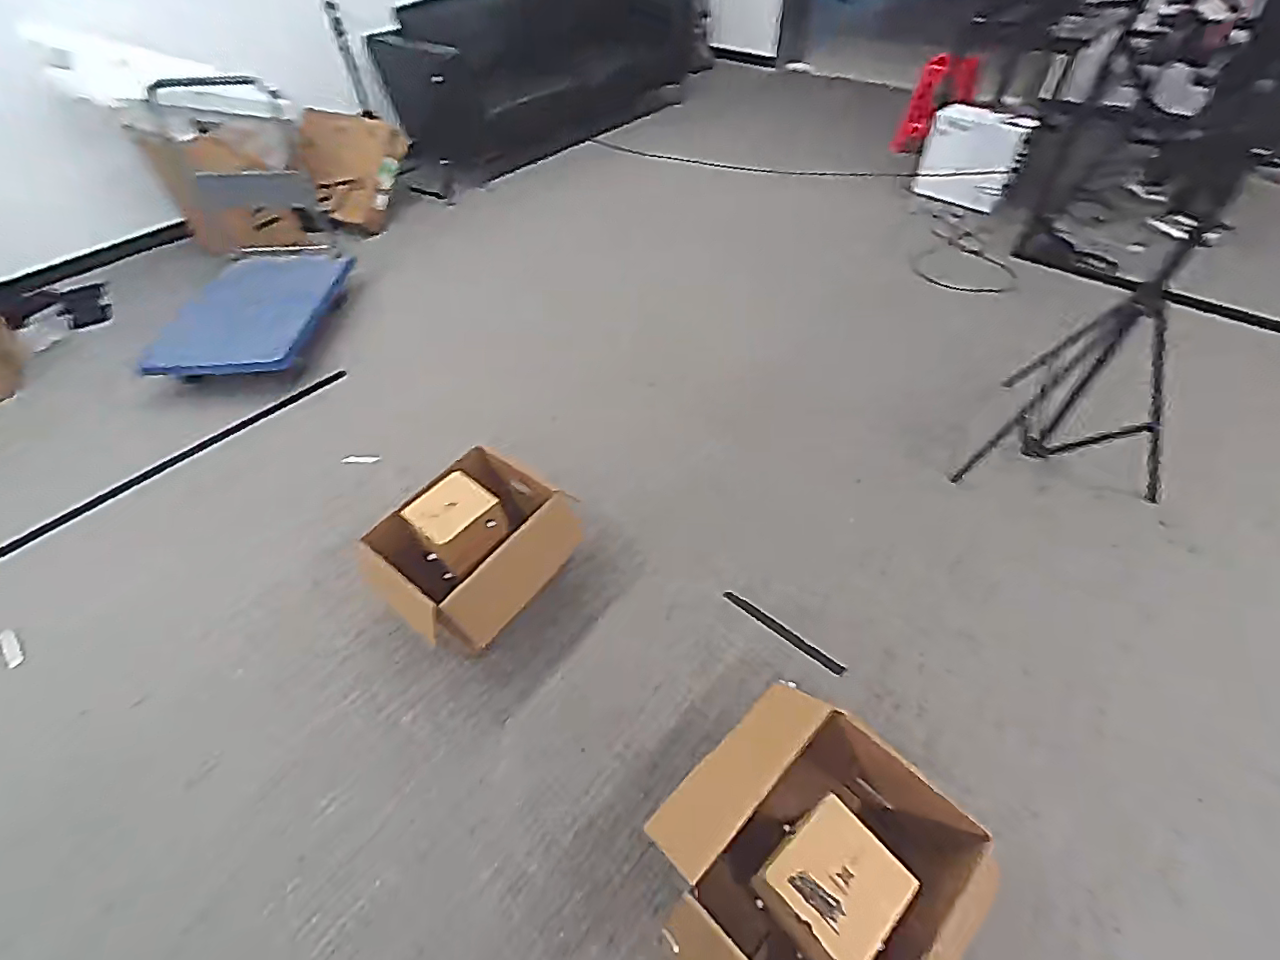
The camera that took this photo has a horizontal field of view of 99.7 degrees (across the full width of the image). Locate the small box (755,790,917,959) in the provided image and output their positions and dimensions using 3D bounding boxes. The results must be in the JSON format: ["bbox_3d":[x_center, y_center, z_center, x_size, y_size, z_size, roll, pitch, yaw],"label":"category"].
[{"bbox_3d":[0.308,0.657,0.890,0.179,0.176,0.168,-33,58,-26],"label":"small box"}]

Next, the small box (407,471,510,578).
[{"bbox_3d":[-0.457,0.116,1.397,0.168,0.176,0.179,31,58,27],"label":"small box"}]
